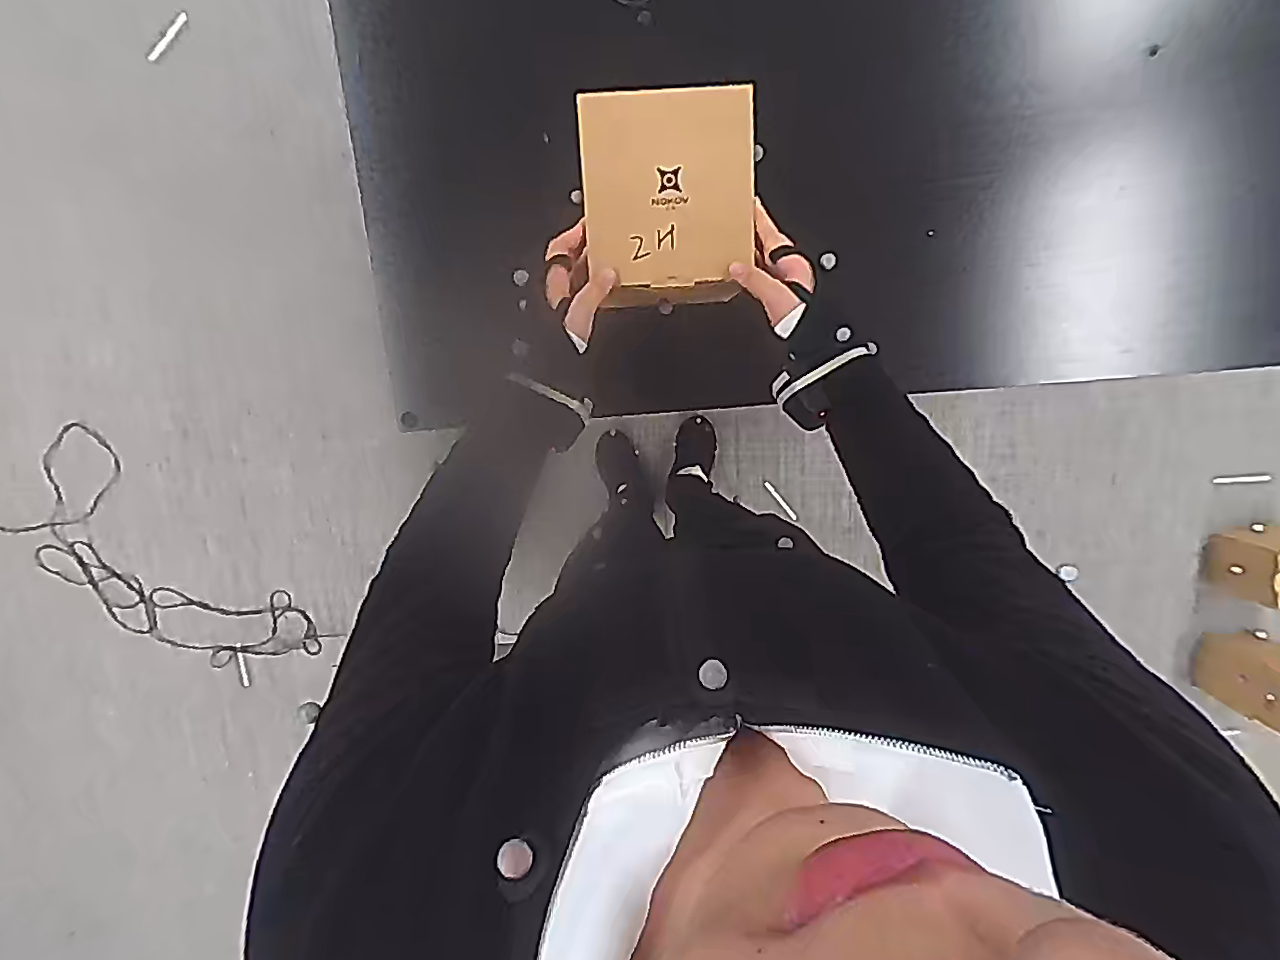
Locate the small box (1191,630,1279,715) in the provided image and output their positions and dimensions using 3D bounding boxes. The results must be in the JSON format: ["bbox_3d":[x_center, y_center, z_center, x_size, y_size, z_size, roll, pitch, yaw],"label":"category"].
[{"bbox_3d":[1.732,0.537,1.529,0.168,0.176,0.179,-1,103,0],"label":"small box"}]

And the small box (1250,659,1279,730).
[{"bbox_3d":[1.733,0.566,1.370,0.179,0.176,0.168,-5,101,2],"label":"small box"}]

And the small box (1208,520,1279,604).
[{"bbox_3d":[1.702,0.216,1.460,0.179,0.176,0.168,-10,102,2],"label":"small box"}]

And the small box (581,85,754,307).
[{"bbox_3d":[0.027,-0.294,0.596,0.168,0.176,0.179,-3,102,0],"label":"small box"}]
